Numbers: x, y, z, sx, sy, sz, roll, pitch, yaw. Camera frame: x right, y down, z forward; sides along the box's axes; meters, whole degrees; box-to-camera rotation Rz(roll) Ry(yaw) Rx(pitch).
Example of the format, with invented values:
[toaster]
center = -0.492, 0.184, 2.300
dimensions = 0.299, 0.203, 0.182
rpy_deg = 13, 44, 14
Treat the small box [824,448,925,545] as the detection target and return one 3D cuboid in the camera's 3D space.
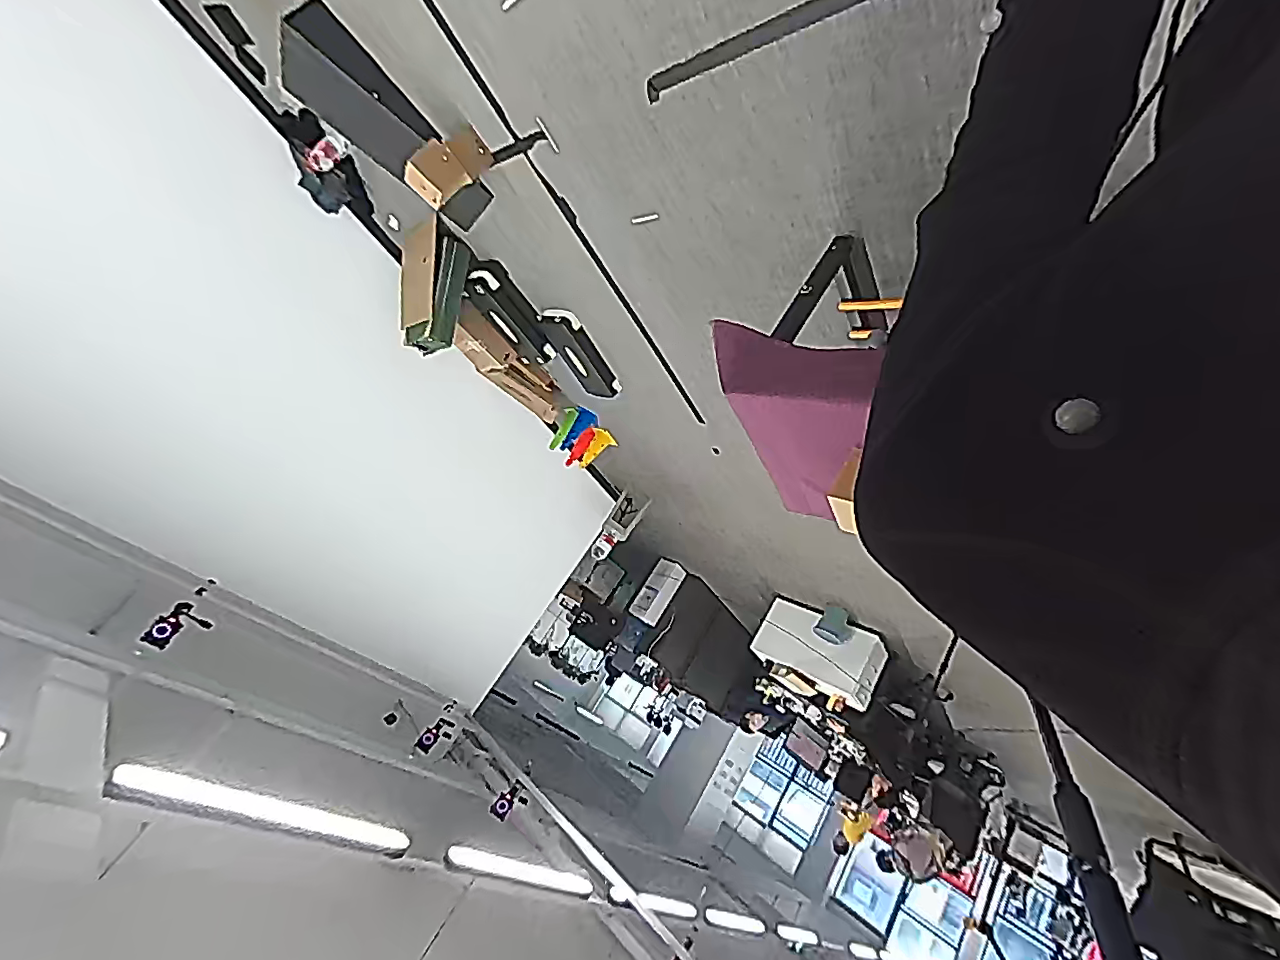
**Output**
[small box]
center = 0.605, 0.036, 1.391
dimensions = 0.179, 0.176, 0.168
rpy_deg = 17, 154, 42
